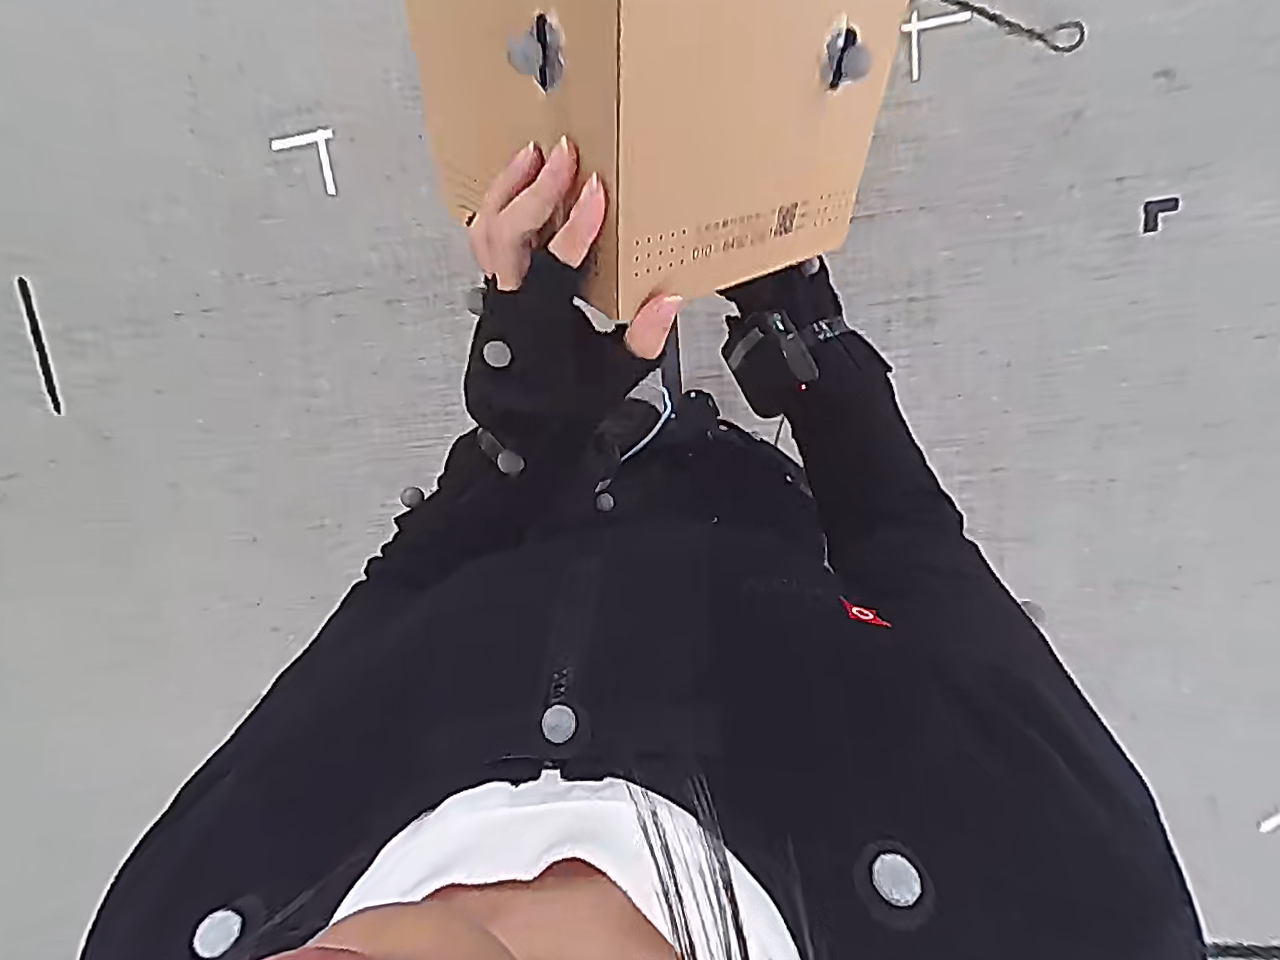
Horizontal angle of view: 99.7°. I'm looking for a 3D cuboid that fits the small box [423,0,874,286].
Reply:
[{"bbox_3d":[0.004,-0.217,0.285,0.179,0.168,0.176,39,143,34],"label":"small box"}]
